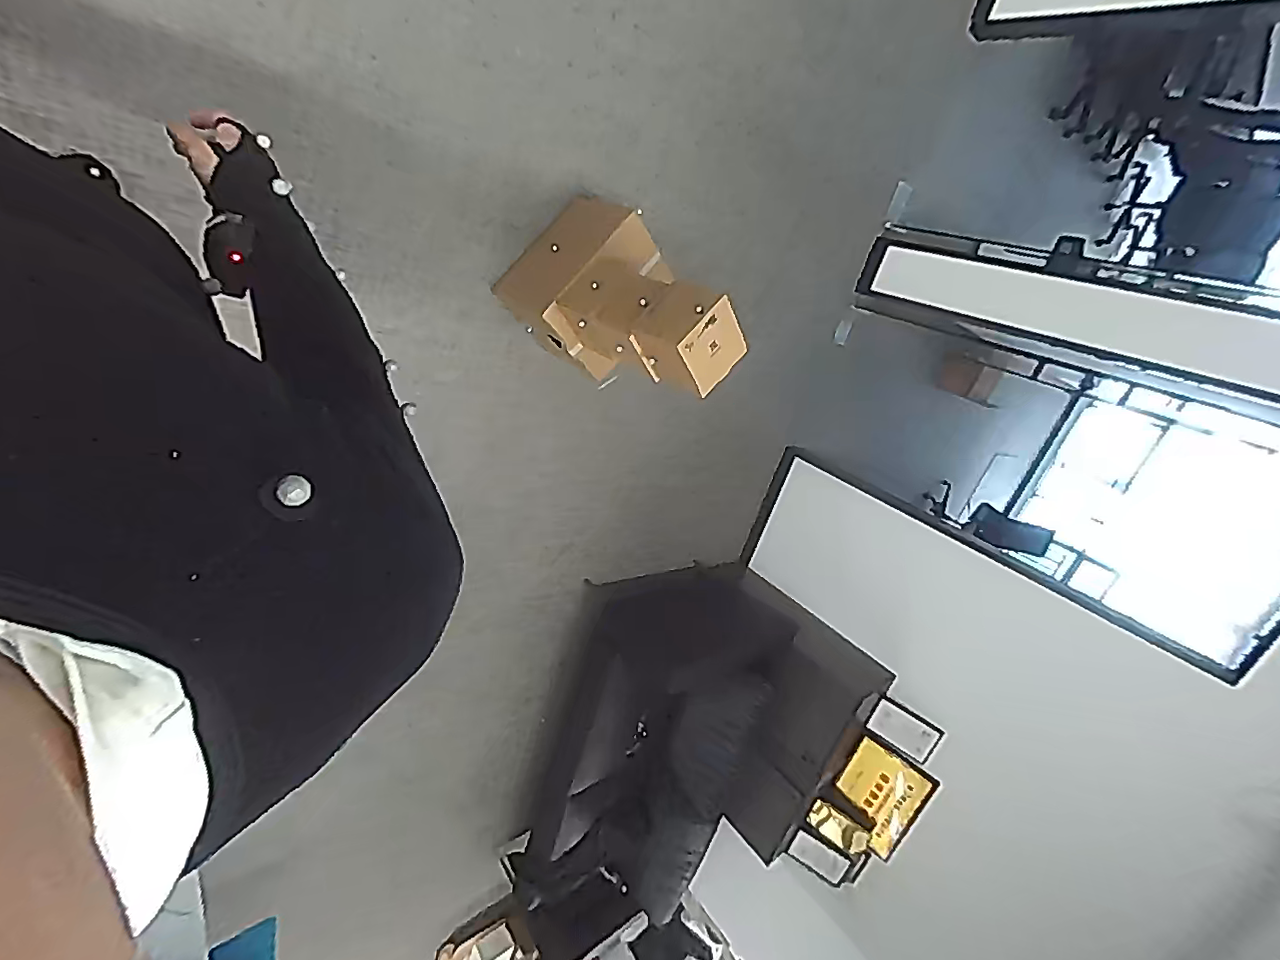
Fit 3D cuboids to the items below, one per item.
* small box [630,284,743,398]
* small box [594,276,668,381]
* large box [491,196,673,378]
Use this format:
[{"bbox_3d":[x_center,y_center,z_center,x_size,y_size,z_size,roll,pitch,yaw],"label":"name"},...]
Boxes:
[{"bbox_3d":[0.108,-0.328,1.264,0.168,0.176,0.179,-48,140,-9],"label":"small box"},{"bbox_3d":[0.006,-0.388,1.379,0.179,0.176,0.168,-49,140,-8],"label":"small box"},{"bbox_3d":[-0.179,-0.601,1.687,0.408,0.320,0.320,-51,142,-5],"label":"large box"}]
